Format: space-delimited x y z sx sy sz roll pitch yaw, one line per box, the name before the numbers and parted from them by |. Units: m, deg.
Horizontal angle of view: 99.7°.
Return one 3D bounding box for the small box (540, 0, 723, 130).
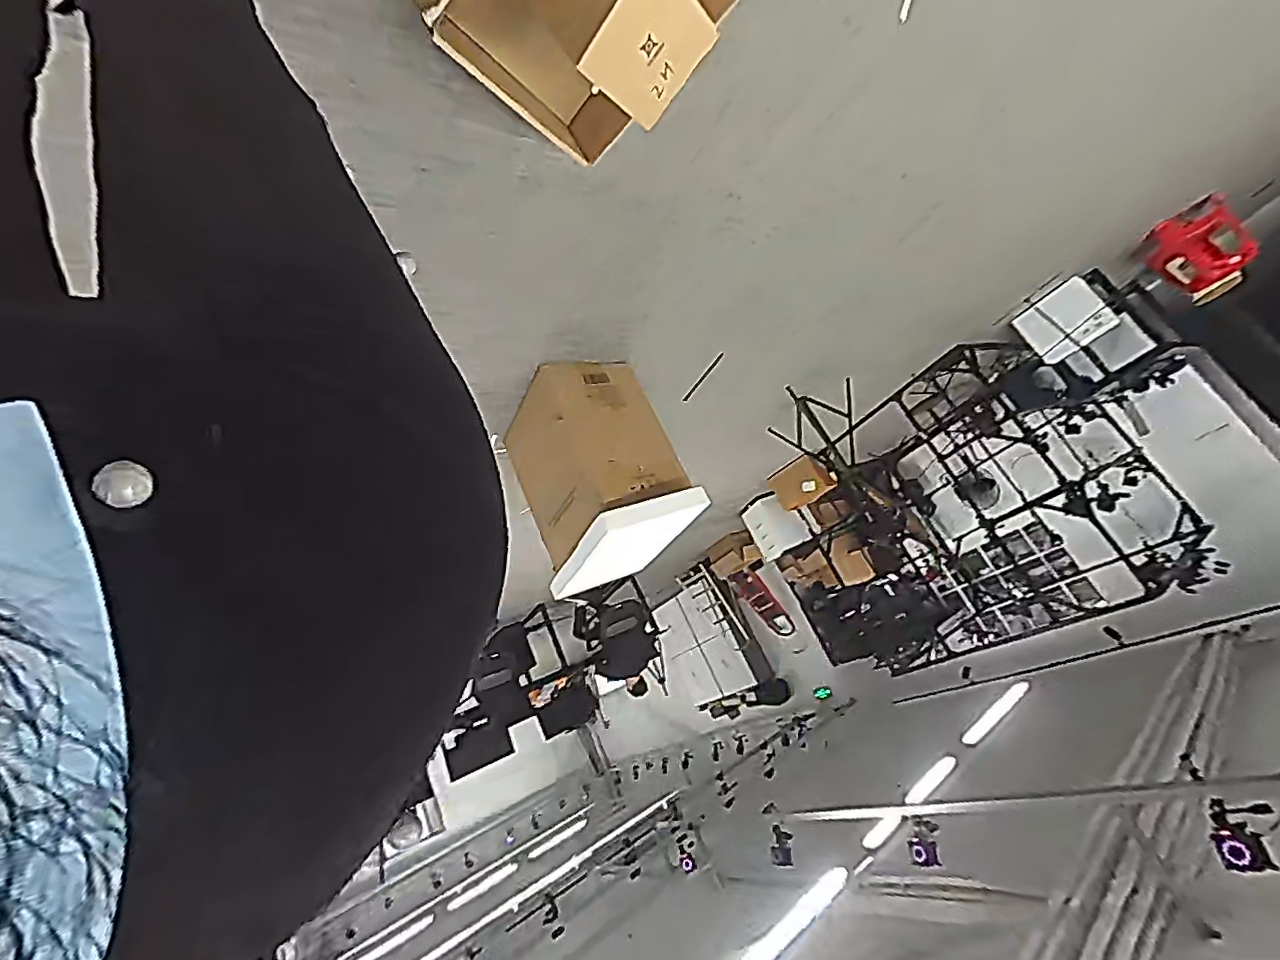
small box | -0.017 -0.681 0.800 0.168 0.176 0.179 -40 158 29
